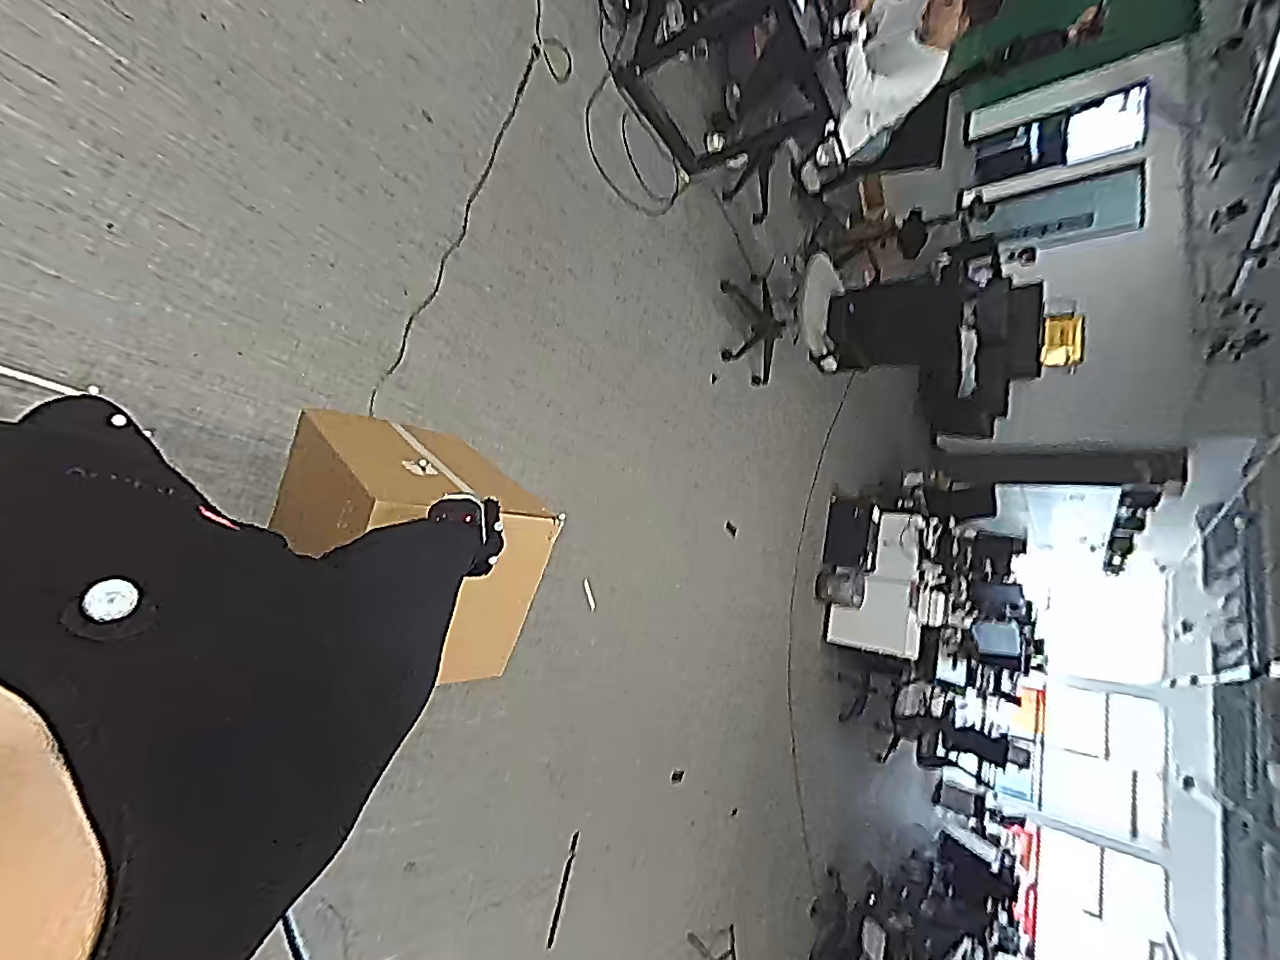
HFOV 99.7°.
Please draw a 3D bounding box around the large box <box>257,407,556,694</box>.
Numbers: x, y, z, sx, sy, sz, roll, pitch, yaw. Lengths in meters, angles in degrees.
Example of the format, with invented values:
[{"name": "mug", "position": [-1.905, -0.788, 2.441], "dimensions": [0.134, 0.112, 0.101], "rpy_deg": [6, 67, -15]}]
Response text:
[{"name": "large box", "position": [-0.429, 0.107, 0.965], "dimensions": [0.320, 0.408, 0.320], "rpy_deg": [10, 107, -48]}]
